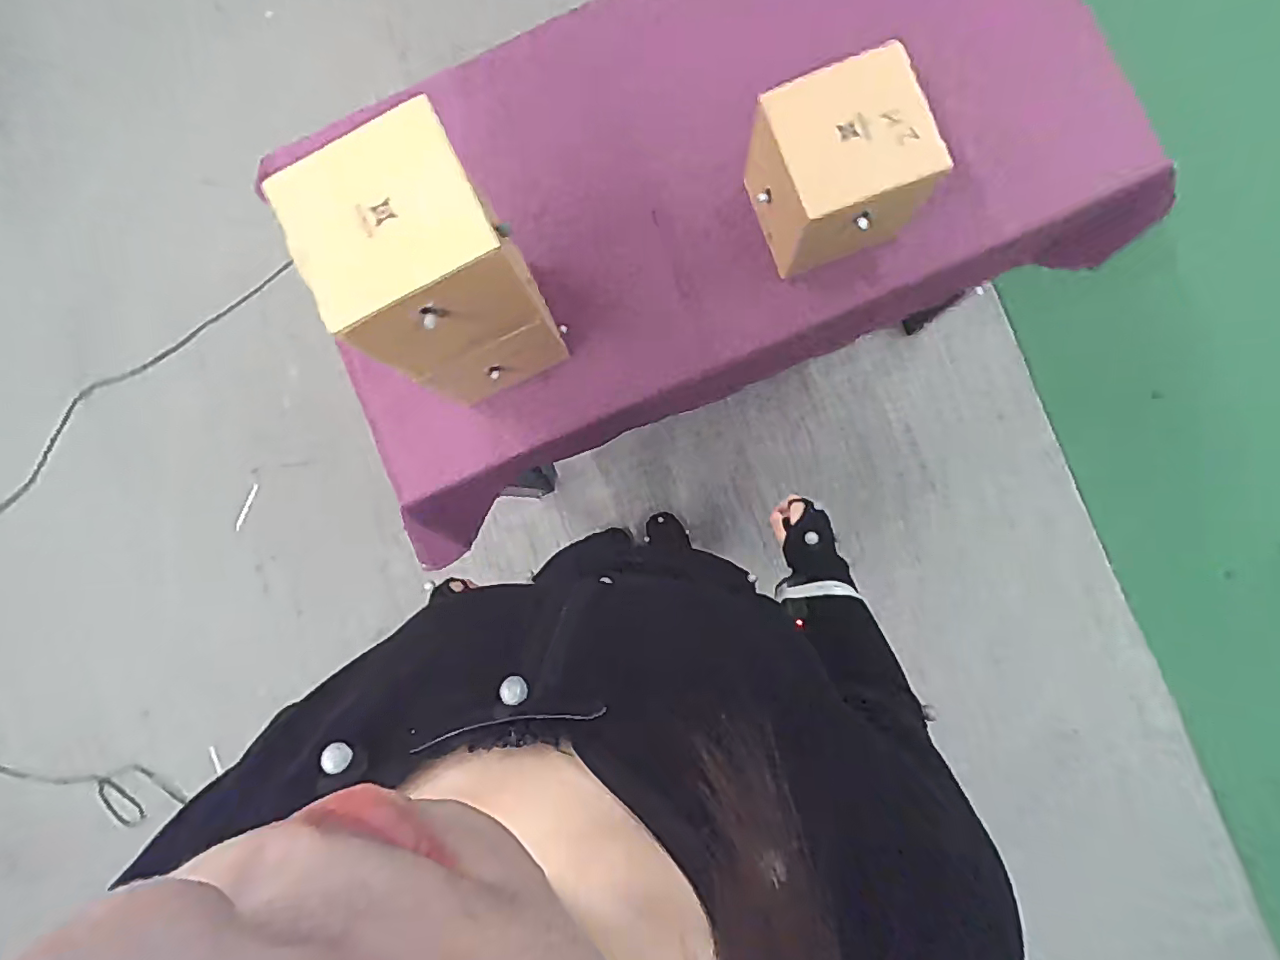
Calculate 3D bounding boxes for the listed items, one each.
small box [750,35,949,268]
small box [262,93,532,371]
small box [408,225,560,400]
[{"bbox_3d":[0.251,-0.405,0.701,0.179,0.176,0.168,-19,87,3],"label":"small box"},{"bbox_3d":[-0.230,-0.238,0.566,0.179,0.176,0.168,-27,86,4],"label":"small box"},{"bbox_3d":[-0.222,-0.227,0.728,0.179,0.176,0.168,-26,85,4],"label":"small box"}]
